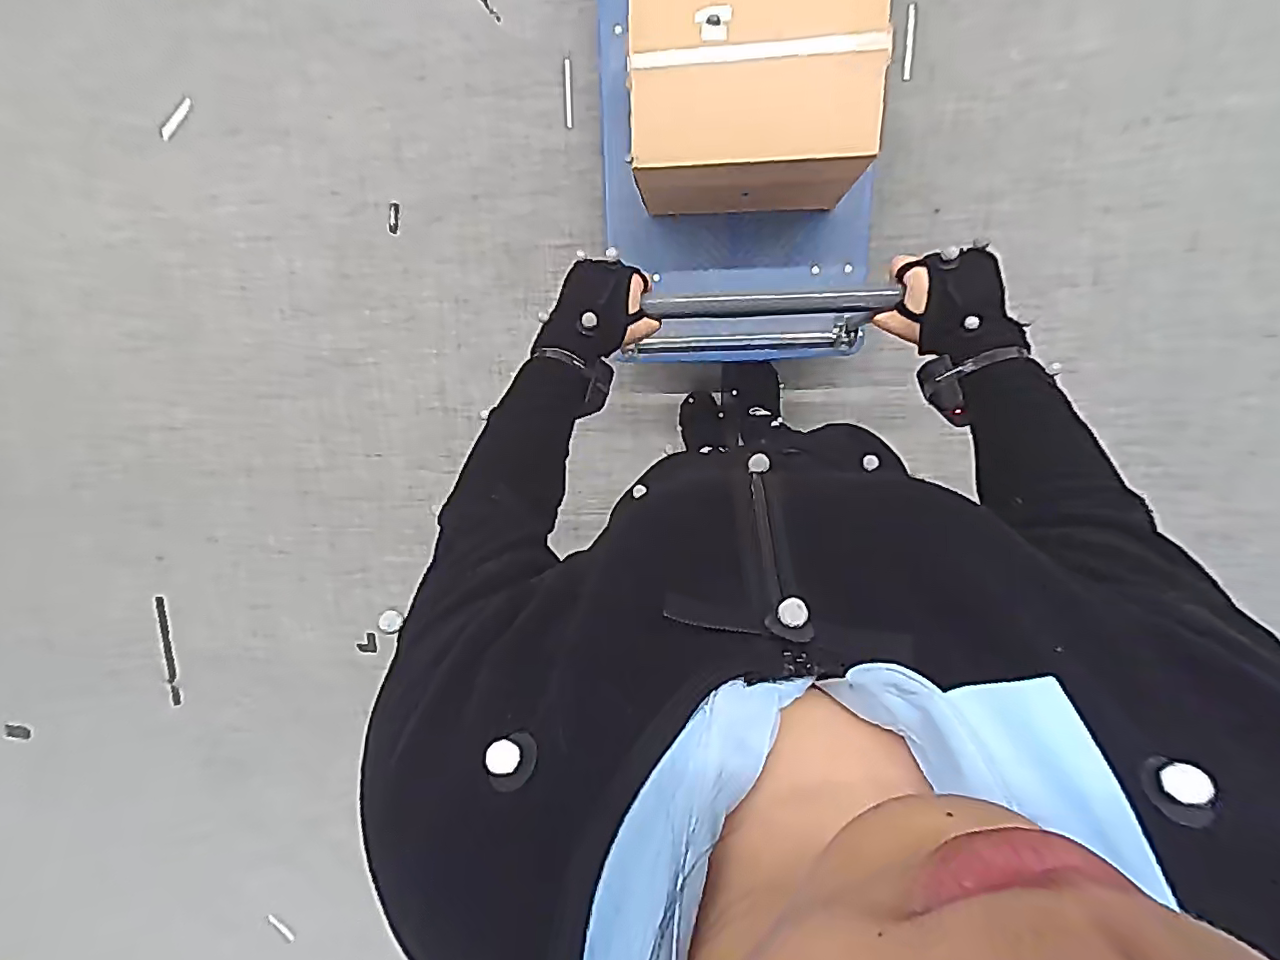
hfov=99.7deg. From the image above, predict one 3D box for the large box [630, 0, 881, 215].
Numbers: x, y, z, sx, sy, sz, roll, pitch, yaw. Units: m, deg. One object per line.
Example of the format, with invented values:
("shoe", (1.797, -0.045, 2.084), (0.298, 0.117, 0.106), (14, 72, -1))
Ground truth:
("large box", (0.204, -0.717, 1.027), (0.408, 0.320, 0.320), (0, 101, 8))
